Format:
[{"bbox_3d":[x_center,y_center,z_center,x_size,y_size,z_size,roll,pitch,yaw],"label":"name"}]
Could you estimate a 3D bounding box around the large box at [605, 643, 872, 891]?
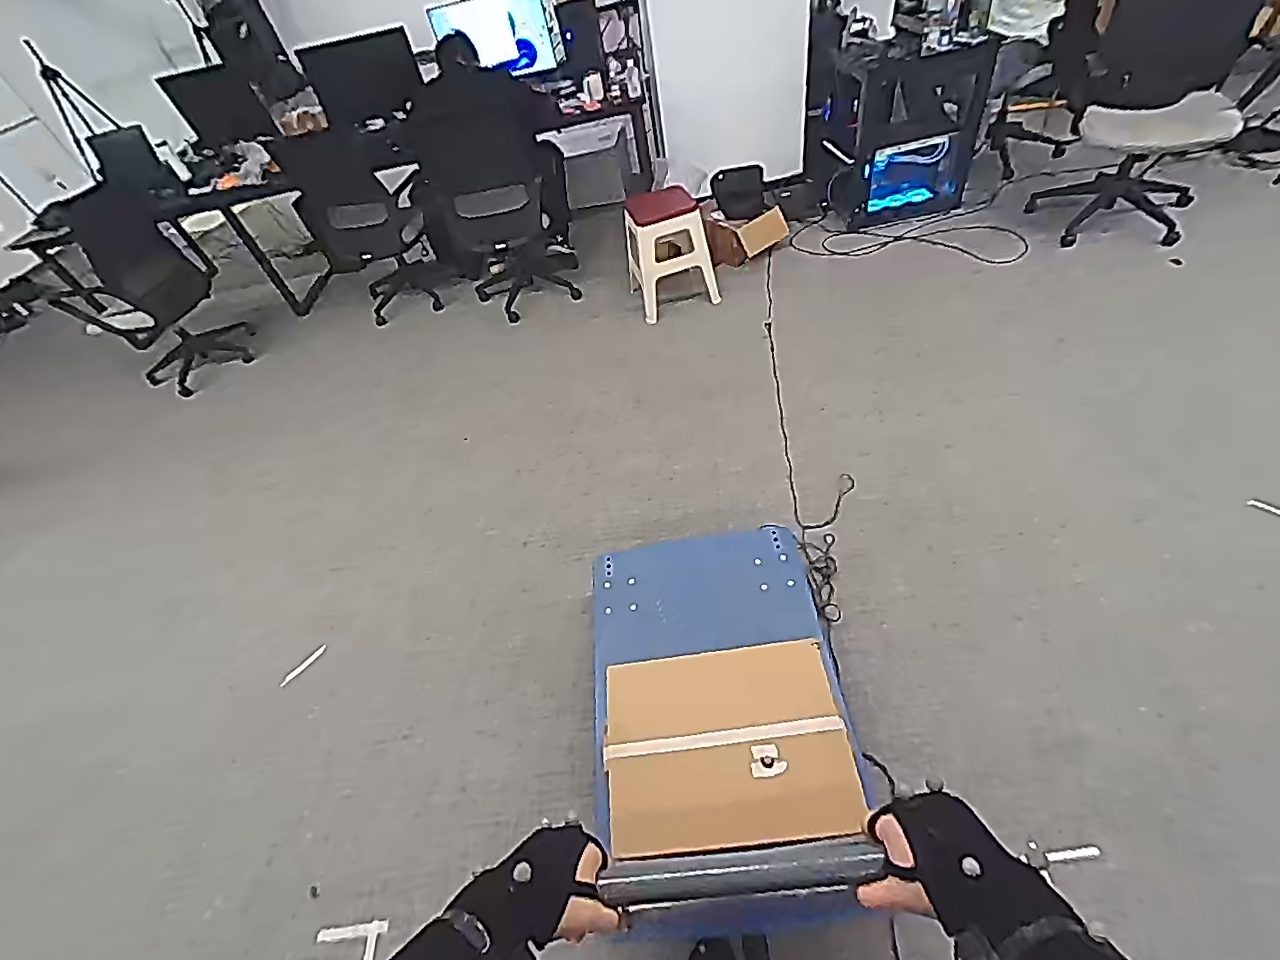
[{"bbox_3d":[0.163,0.548,1.023,0.408,0.320,0.320,-10,48,4],"label":"large box"}]
